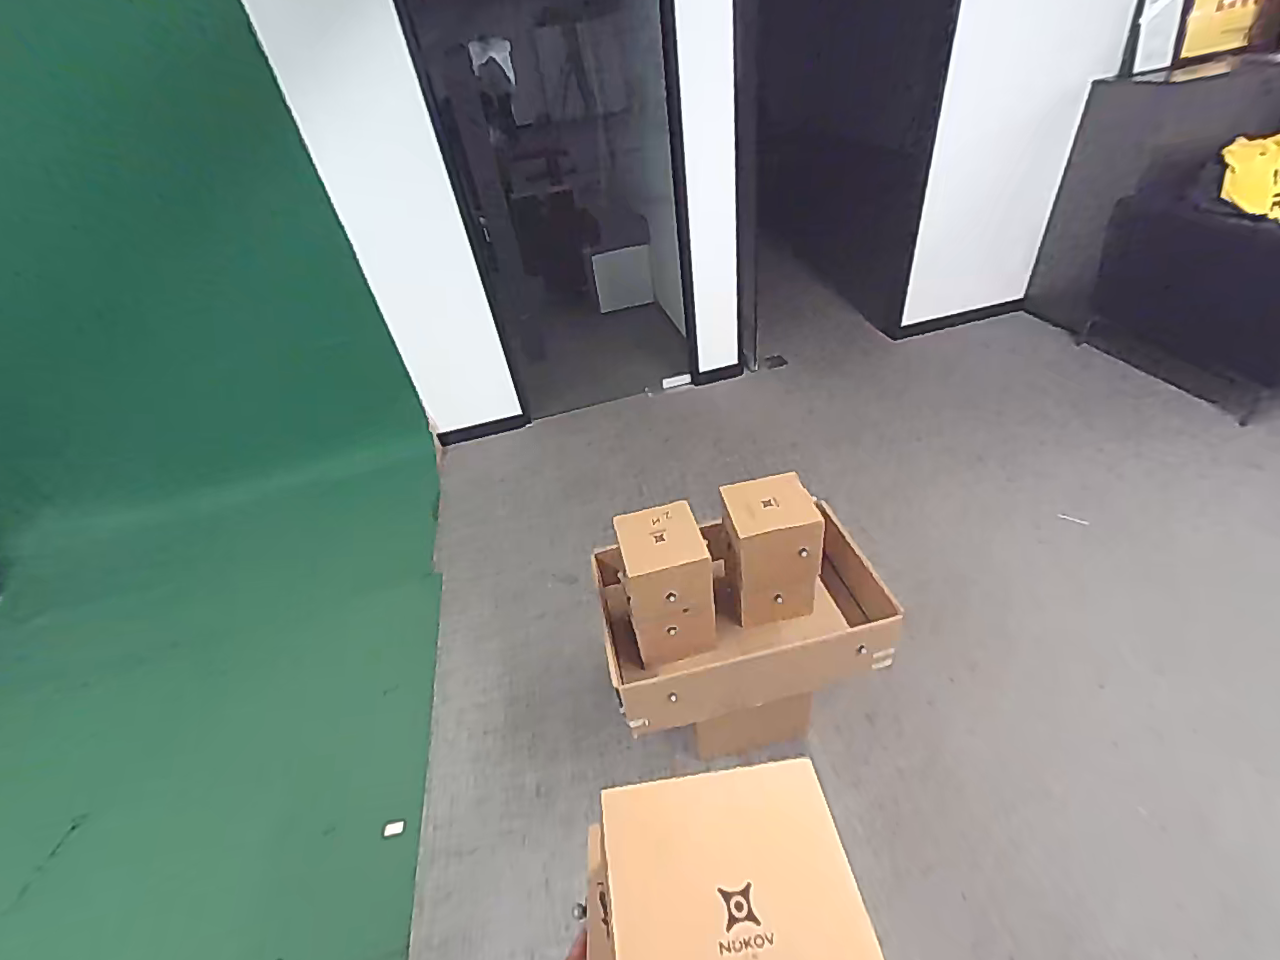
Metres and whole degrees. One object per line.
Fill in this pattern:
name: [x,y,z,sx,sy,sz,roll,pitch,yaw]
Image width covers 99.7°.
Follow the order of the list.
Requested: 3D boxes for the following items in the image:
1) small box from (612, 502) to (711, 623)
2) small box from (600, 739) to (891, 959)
small box: [0.047,0.178,1.136,0.168,0.176,0.179,-13,38,-5]
small box: [0.059,0.323,0.396,0.168,0.176,0.179,-5,41,-8]
